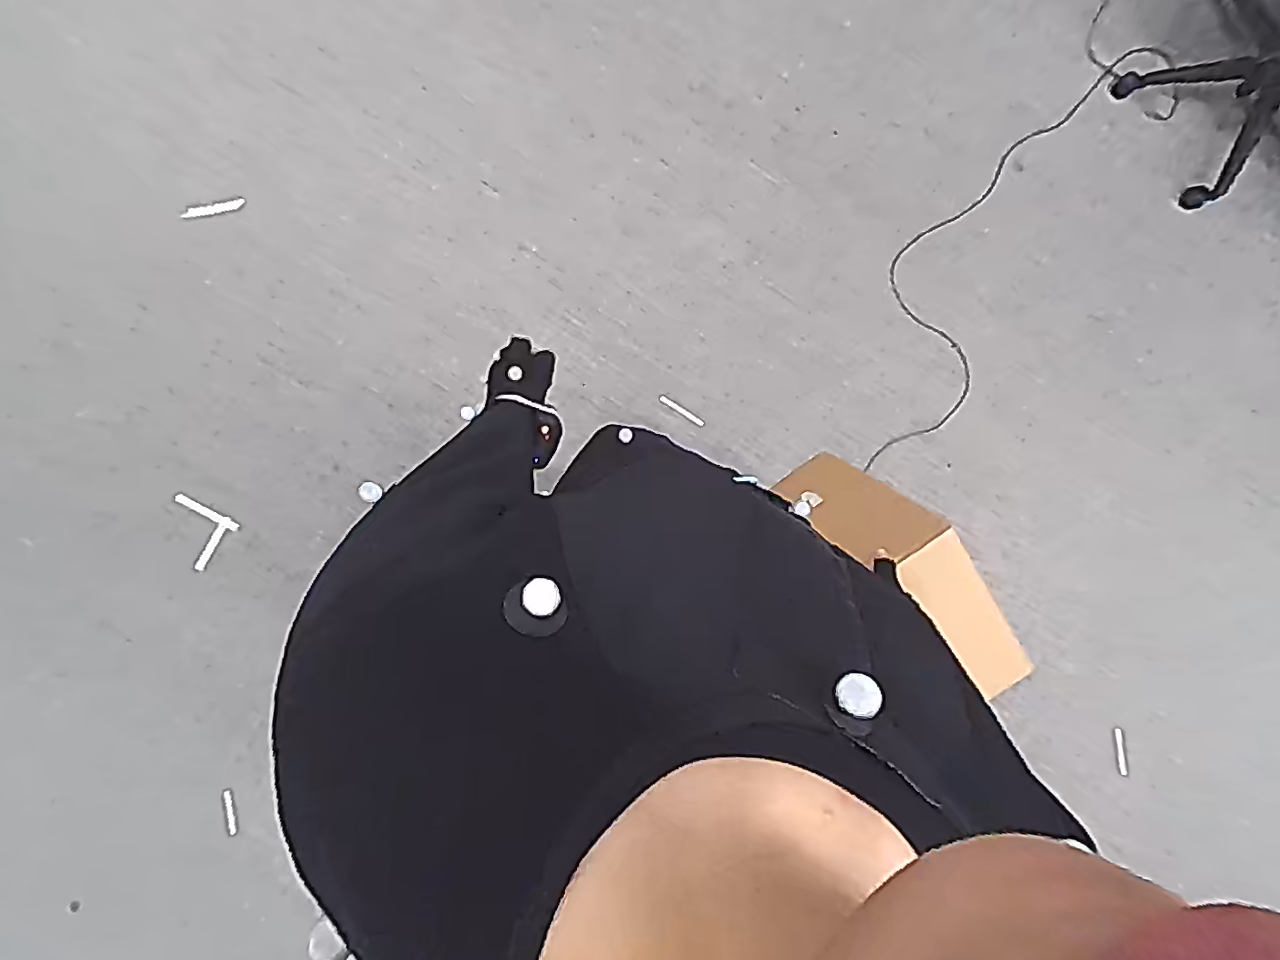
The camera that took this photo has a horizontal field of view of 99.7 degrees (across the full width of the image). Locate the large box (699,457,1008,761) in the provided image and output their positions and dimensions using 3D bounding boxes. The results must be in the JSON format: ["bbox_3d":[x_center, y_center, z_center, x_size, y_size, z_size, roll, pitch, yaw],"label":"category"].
[{"bbox_3d":[0.359,0.208,1.007,0.320,0.408,0.320,-35,108,5],"label":"large box"}]
